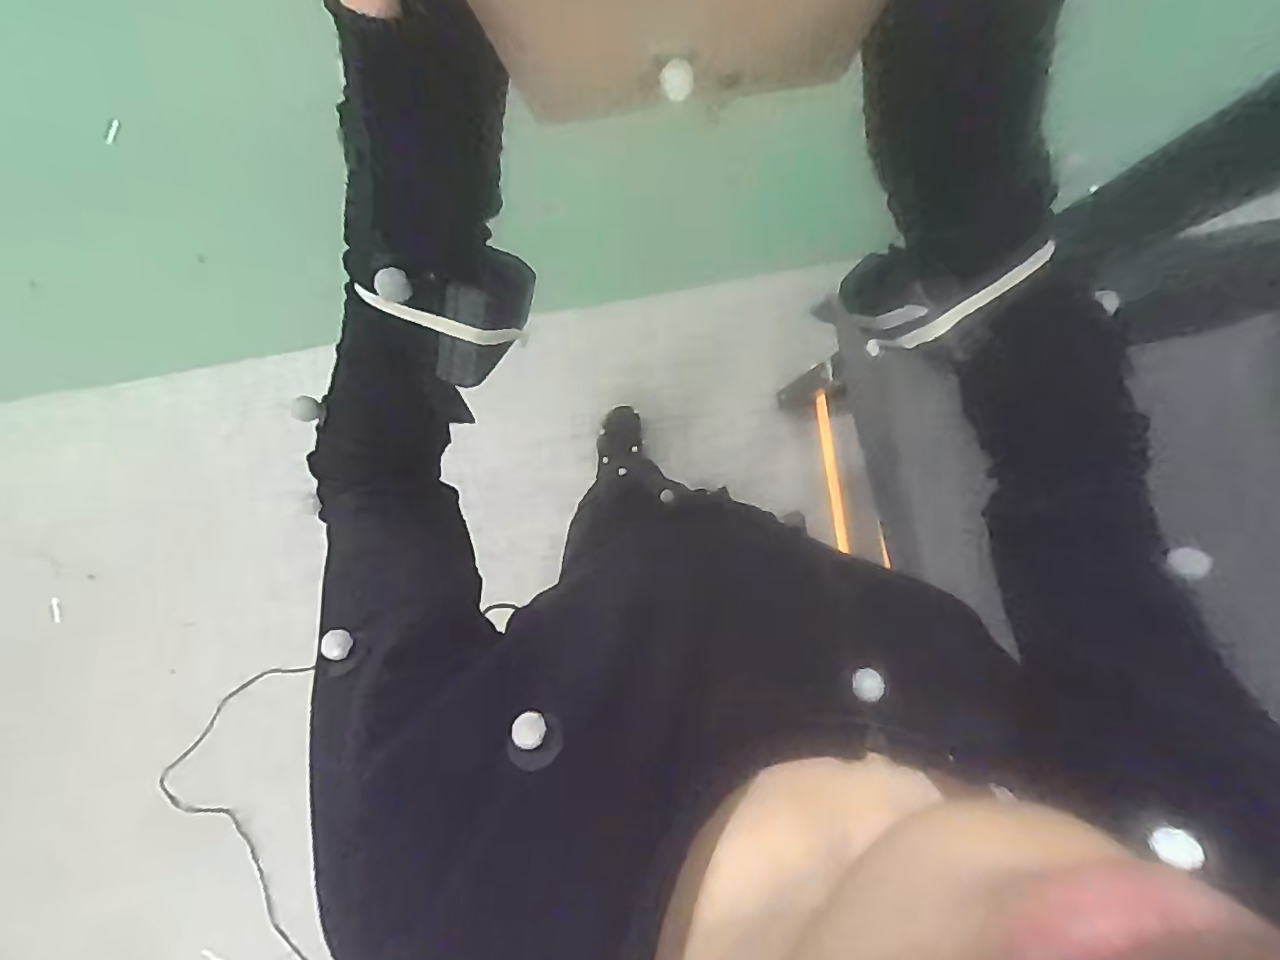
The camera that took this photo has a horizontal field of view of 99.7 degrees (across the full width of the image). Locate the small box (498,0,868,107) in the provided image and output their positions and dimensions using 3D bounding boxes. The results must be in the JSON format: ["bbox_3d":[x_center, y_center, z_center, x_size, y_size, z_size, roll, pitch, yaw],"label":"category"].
[{"bbox_3d":[0.010,-0.277,0.193,0.168,0.176,0.179,-6,102,5],"label":"small box"}]
